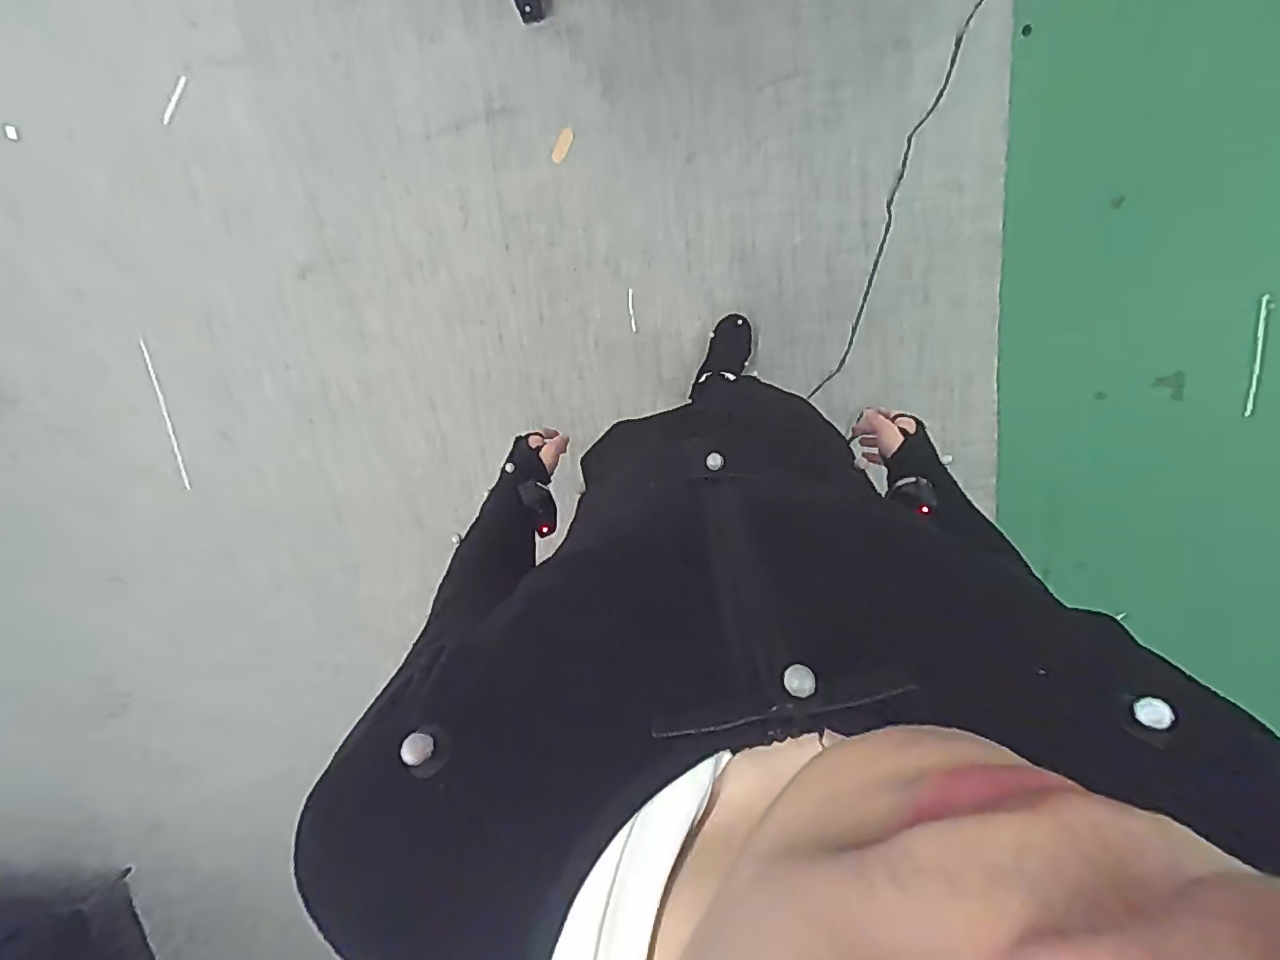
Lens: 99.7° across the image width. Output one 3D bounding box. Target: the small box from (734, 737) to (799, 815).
[{"bbox_3d":[0.398,0.950,1.727,0.179,0.176,0.168,3,103,4],"label":"small box"}]
